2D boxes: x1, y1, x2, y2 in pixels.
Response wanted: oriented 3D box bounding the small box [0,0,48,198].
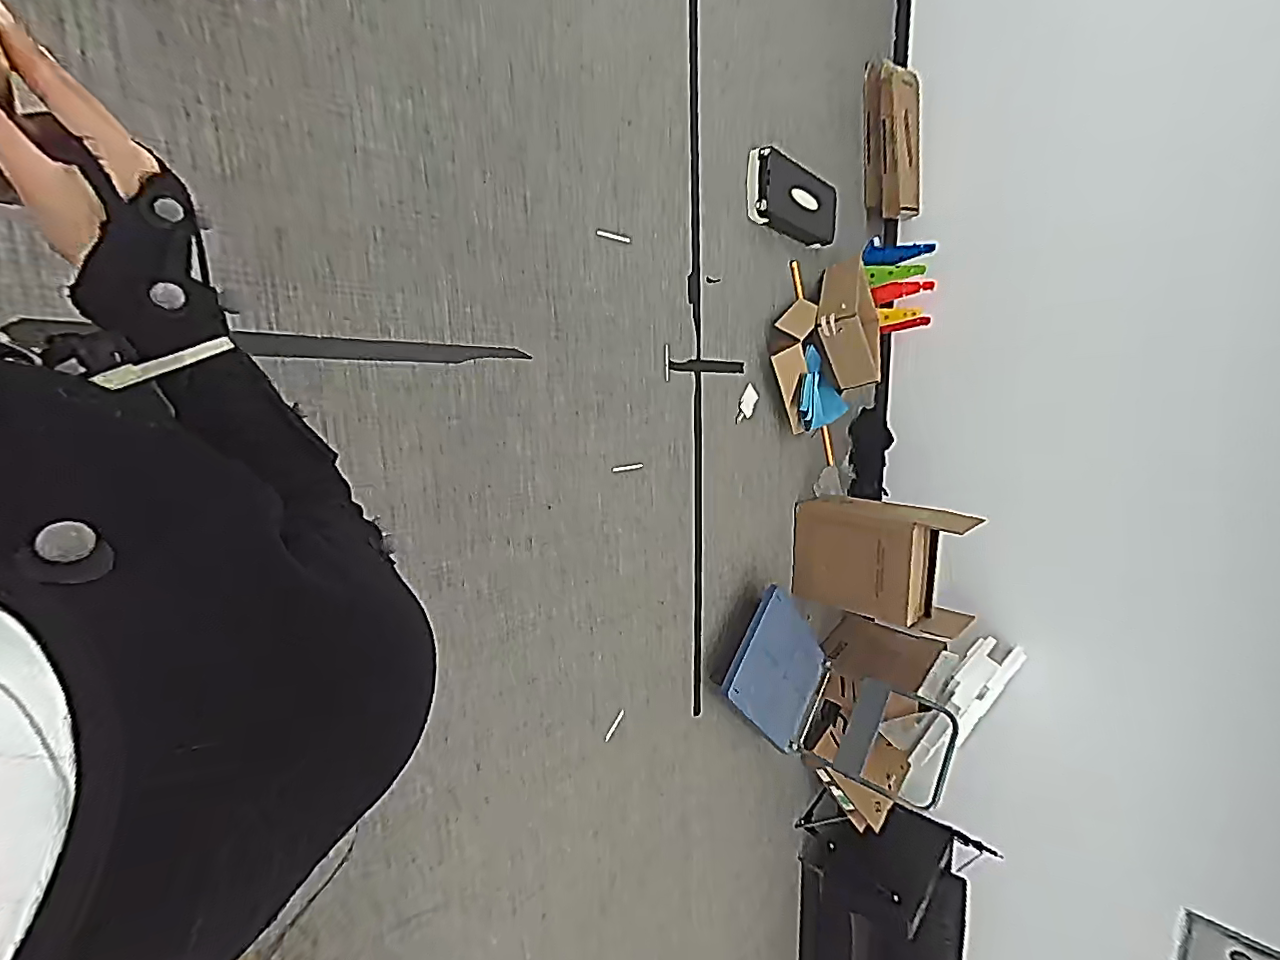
[{"bbox_3d":[-0.433,-0.263,0.257,0.179,0.176,0.168,-13,94,-44],"label":"small box"}]
